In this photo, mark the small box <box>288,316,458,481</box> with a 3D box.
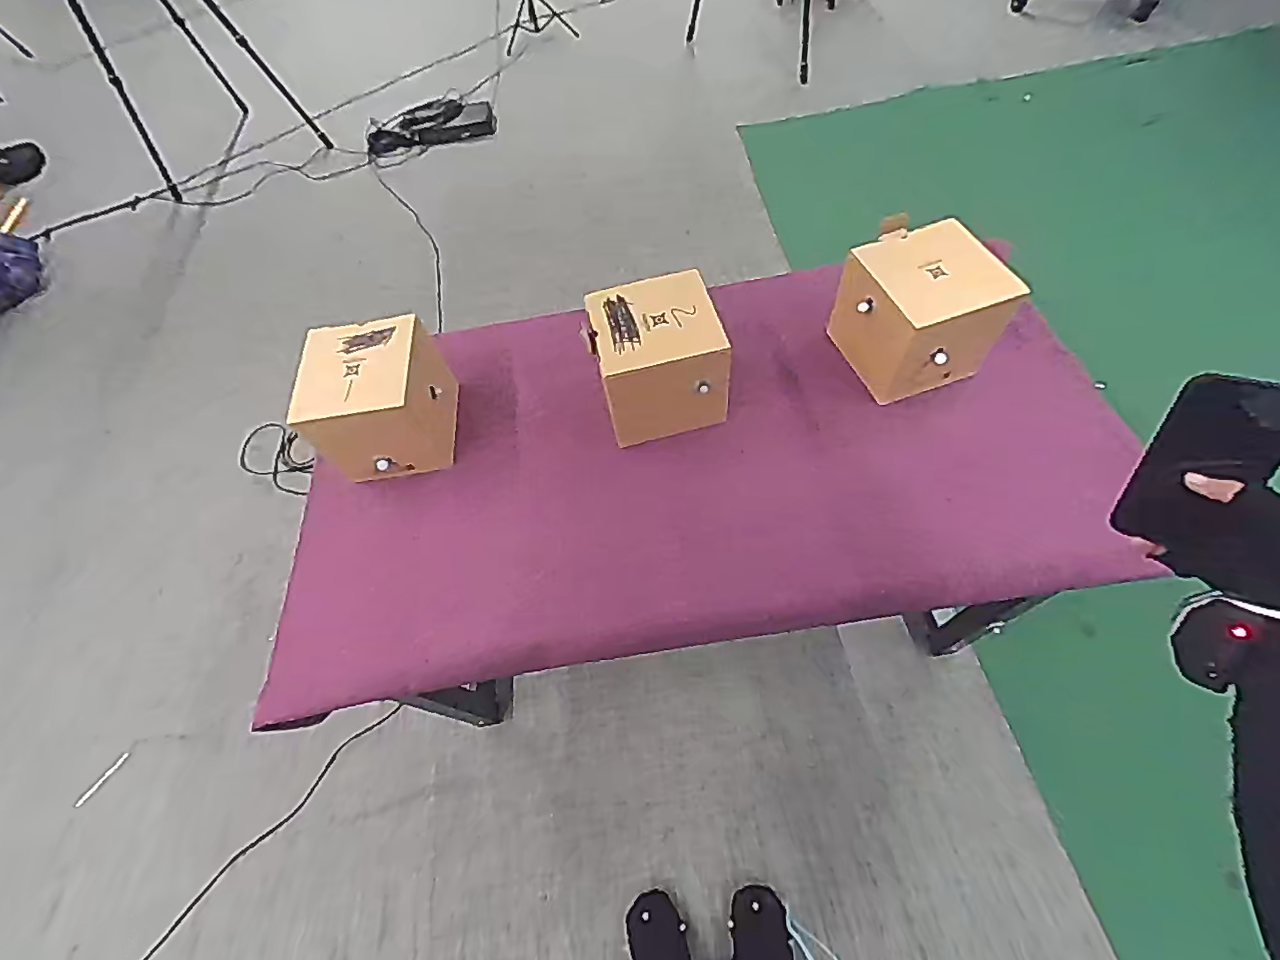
[{"bbox_3d":[-0.391,-0.120,0.829,0.168,0.176,0.179,-8,61,2],"label":"small box"}]

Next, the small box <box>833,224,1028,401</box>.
[{"bbox_3d":[0.414,-0.239,0.808,0.168,0.176,0.179,-18,59,-3],"label":"small box"}]
